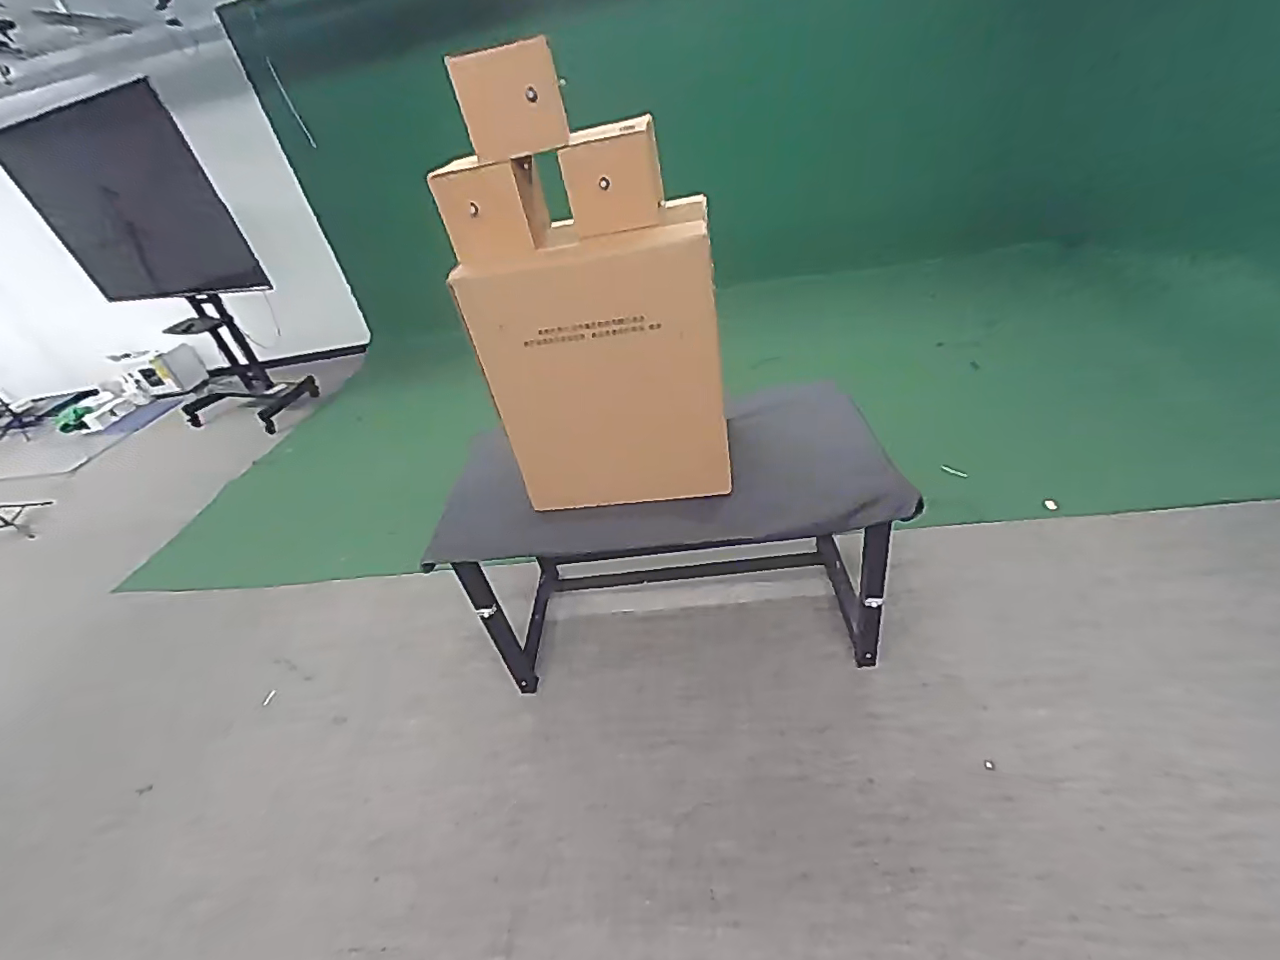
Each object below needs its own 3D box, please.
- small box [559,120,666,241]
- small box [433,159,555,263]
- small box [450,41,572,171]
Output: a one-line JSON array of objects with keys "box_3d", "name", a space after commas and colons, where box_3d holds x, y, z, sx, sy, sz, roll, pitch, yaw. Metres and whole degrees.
[{"box_3d": [-0.046, -0.616, 1.118, 0.179, 0.176, 0.168, -5, 40, 12], "name": "small box"}, {"box_3d": [-0.300, -0.575, 1.149, 0.179, 0.176, 0.168, -5, 40, 11], "name": "small box"}, {"box_3d": [-0.233, -0.713, 1.034, 0.179, 0.176, 0.168, -12, 38, 3], "name": "small box"}]
